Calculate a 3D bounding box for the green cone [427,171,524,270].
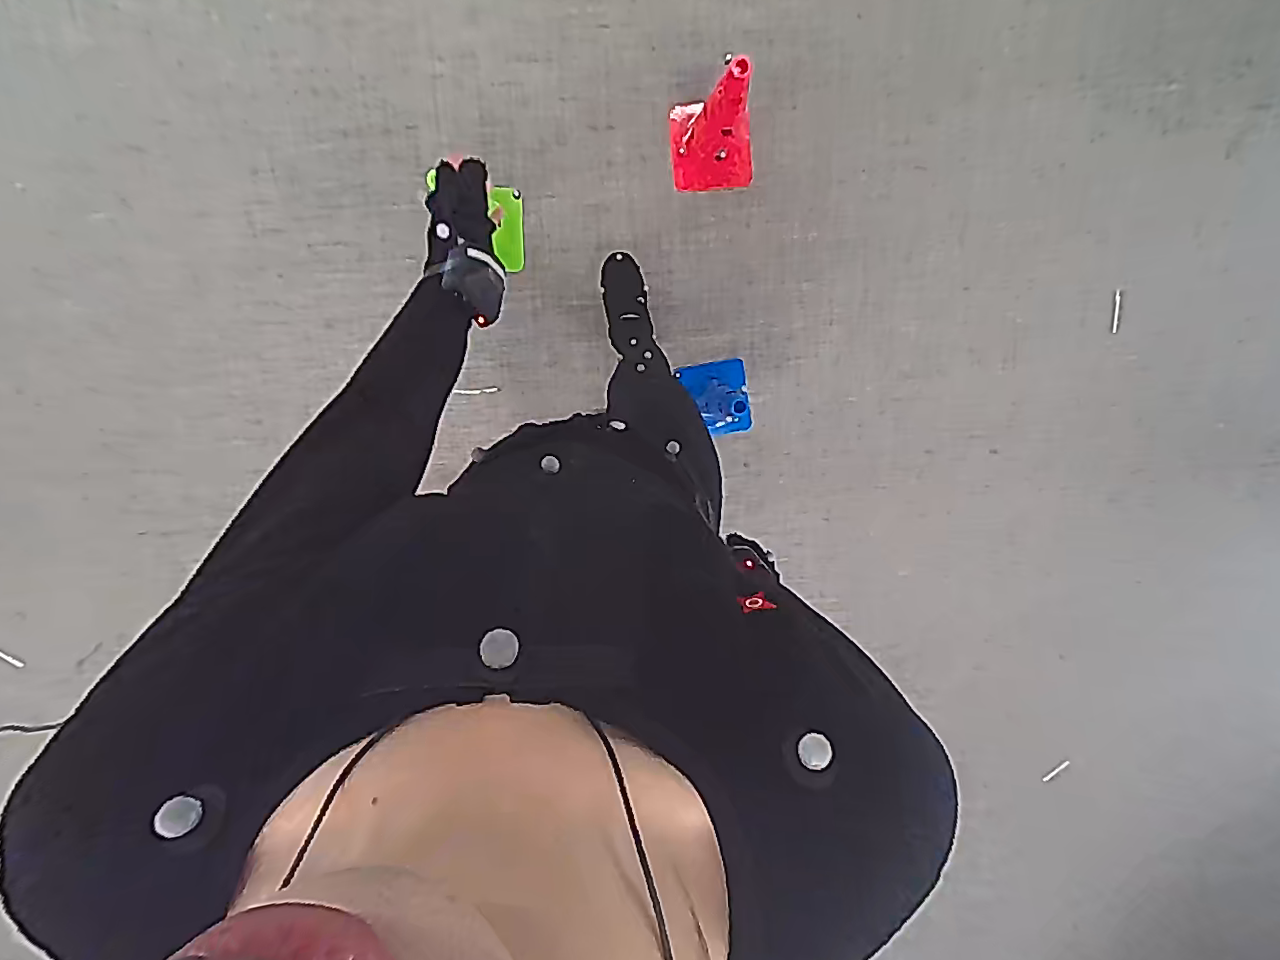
[{"bbox_3d":[-0.393,-0.604,1.194,0.200,0.368,0.202,-1,101,-1],"label":"green cone"}]
